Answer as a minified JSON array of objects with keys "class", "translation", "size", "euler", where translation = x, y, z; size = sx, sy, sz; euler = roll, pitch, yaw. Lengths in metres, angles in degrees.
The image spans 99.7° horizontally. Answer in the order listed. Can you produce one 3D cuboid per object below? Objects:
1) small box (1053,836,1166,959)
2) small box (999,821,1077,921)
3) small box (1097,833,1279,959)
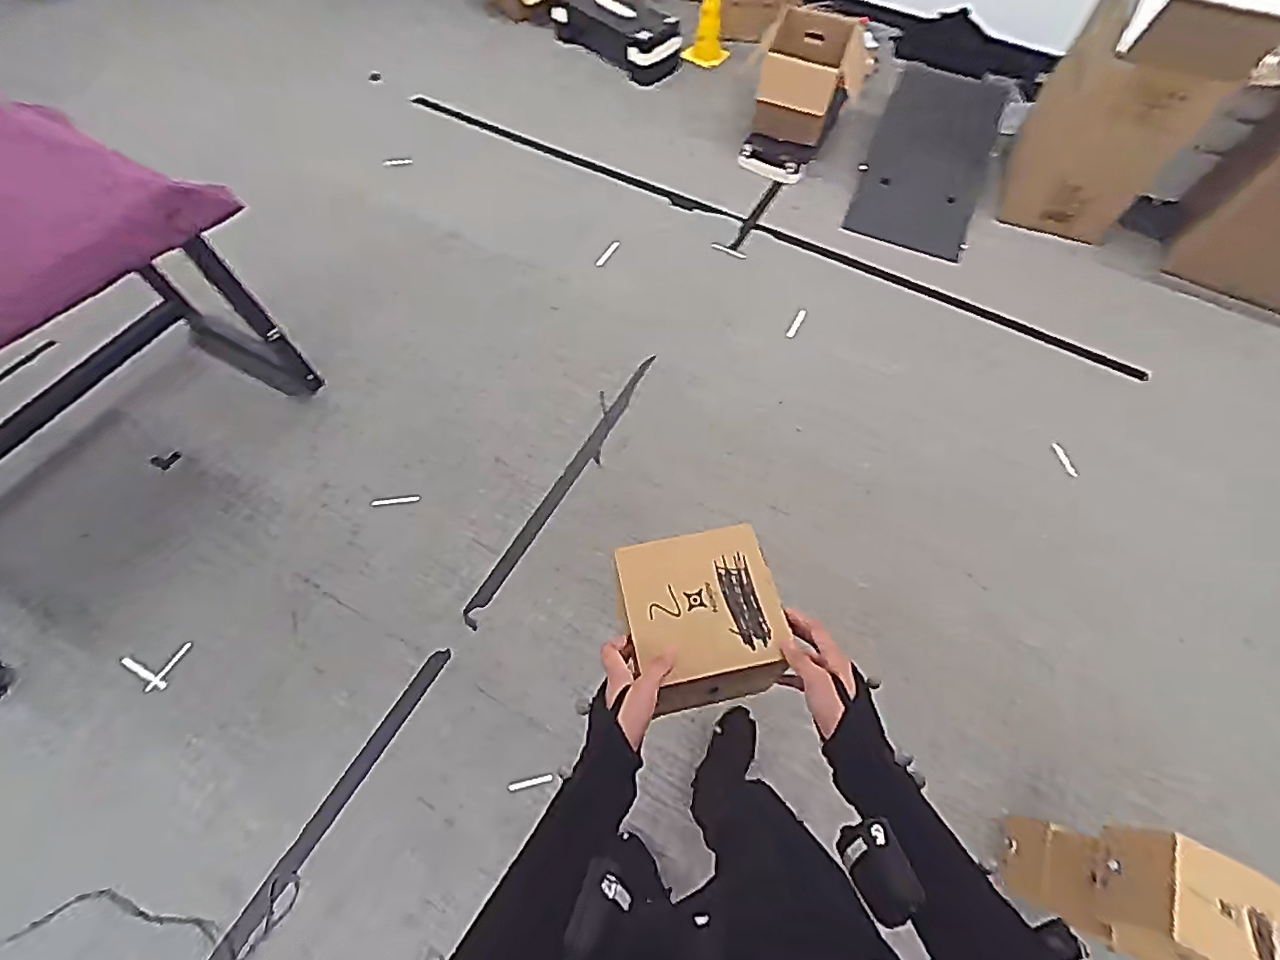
[{"class":"small box","translation":[0.964,0.841,1.072],"size":[0.168,0.176,0.179],"euler":[23,64,9]},{"class":"small box","translation":[0.962,0.903,1.225],"size":[0.179,0.176,0.168],"euler":[23,65,10]},{"class":"small box","translation":[0.955,0.744,0.937],"size":[0.179,0.176,0.168],"euler":[26,64,11]}]
